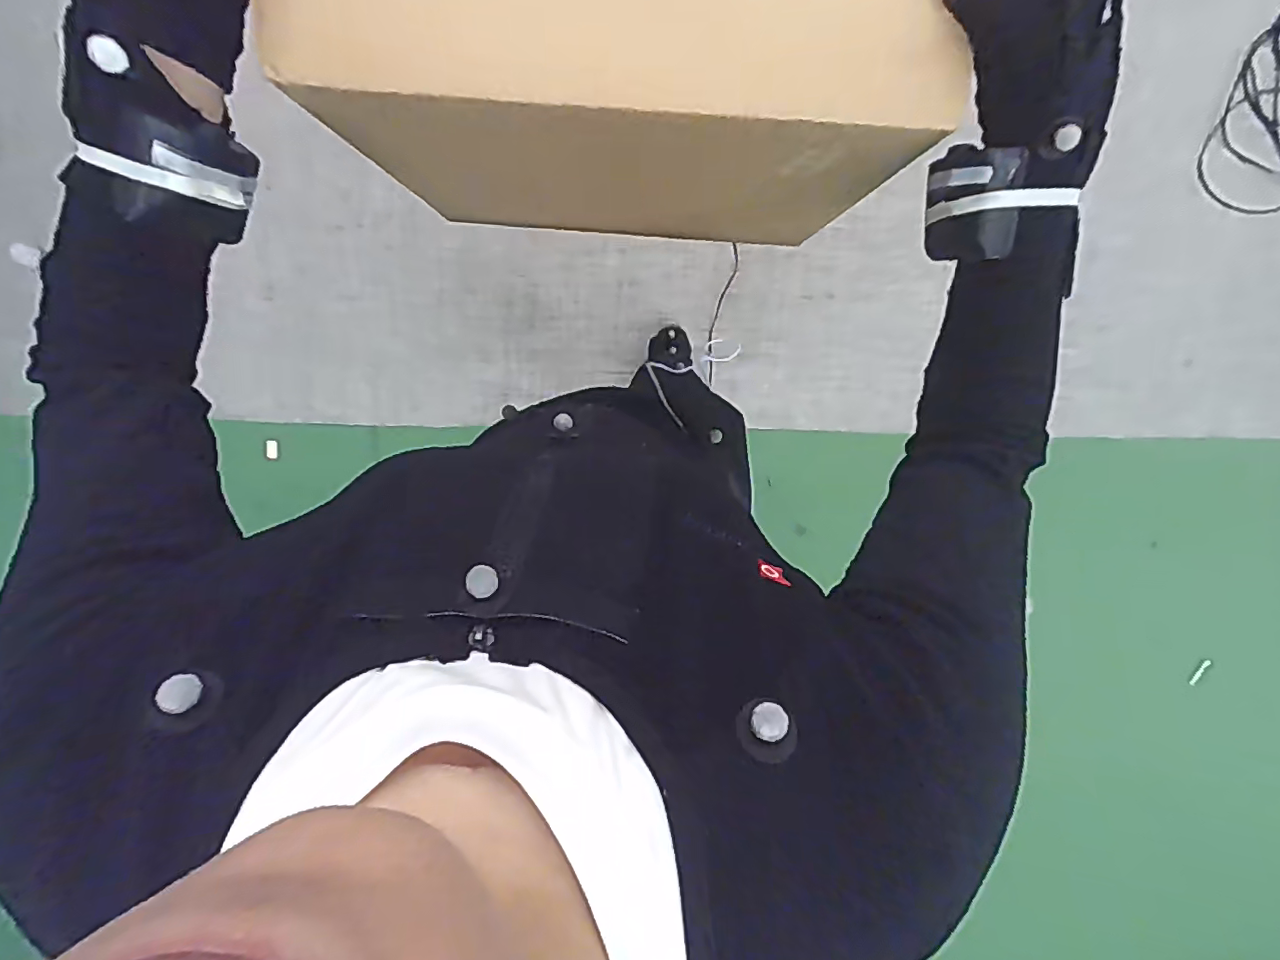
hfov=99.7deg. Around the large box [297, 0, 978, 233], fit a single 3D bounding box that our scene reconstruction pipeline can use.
[{"bbox_3d":[0.001,-0.407,0.439,0.408,0.320,0.320,3,102,-2],"label":"large box"}]
